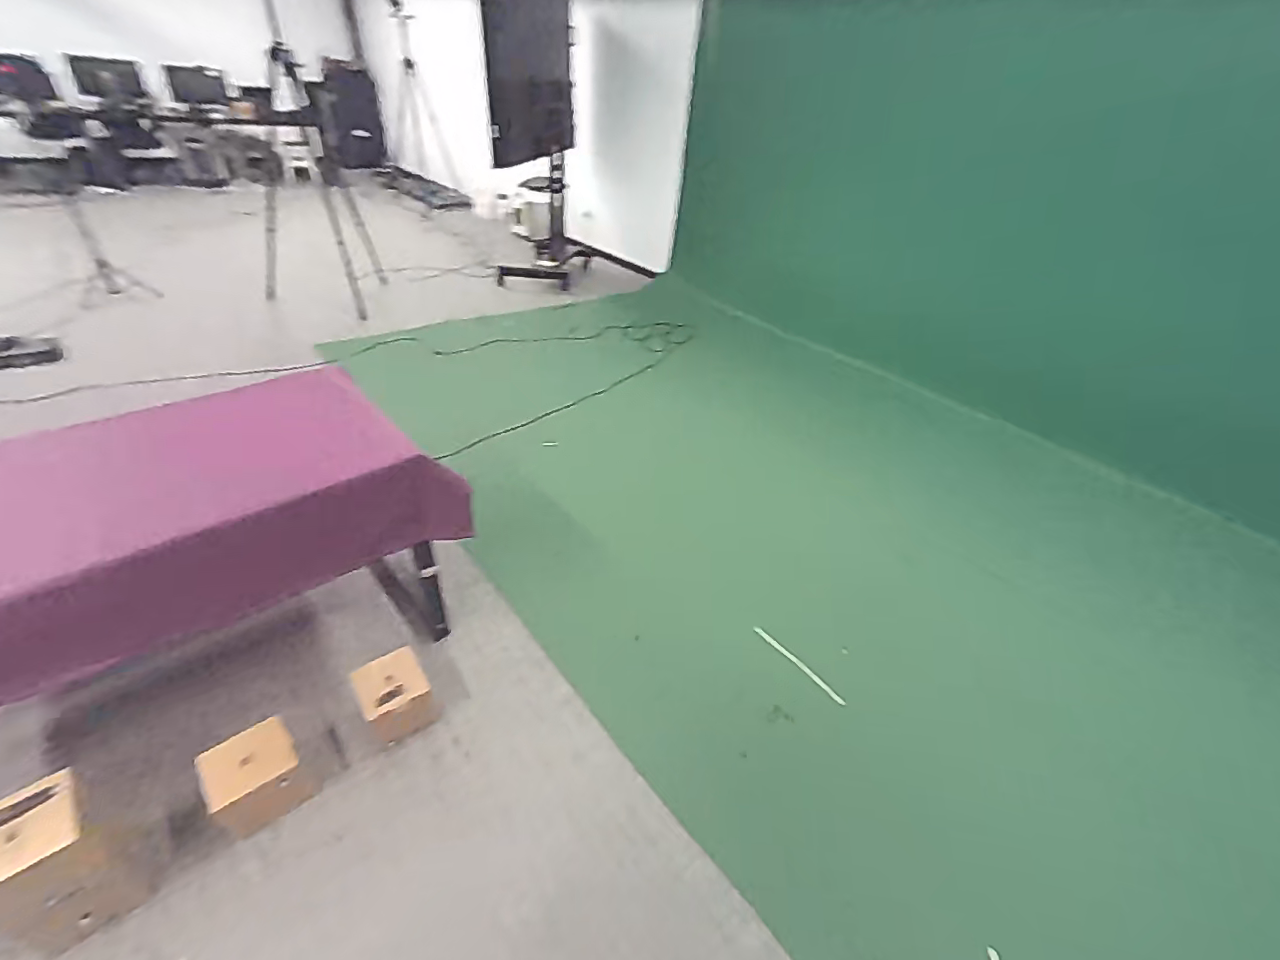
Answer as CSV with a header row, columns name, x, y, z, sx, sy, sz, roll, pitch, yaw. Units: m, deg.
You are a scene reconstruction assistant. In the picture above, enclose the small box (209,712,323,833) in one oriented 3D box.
name,x,y,z,sx,sy,sz,roll,pitch,yaw
small box,-0.928,0.731,1.350,0.179,0.176,0.168,-25,47,-34
